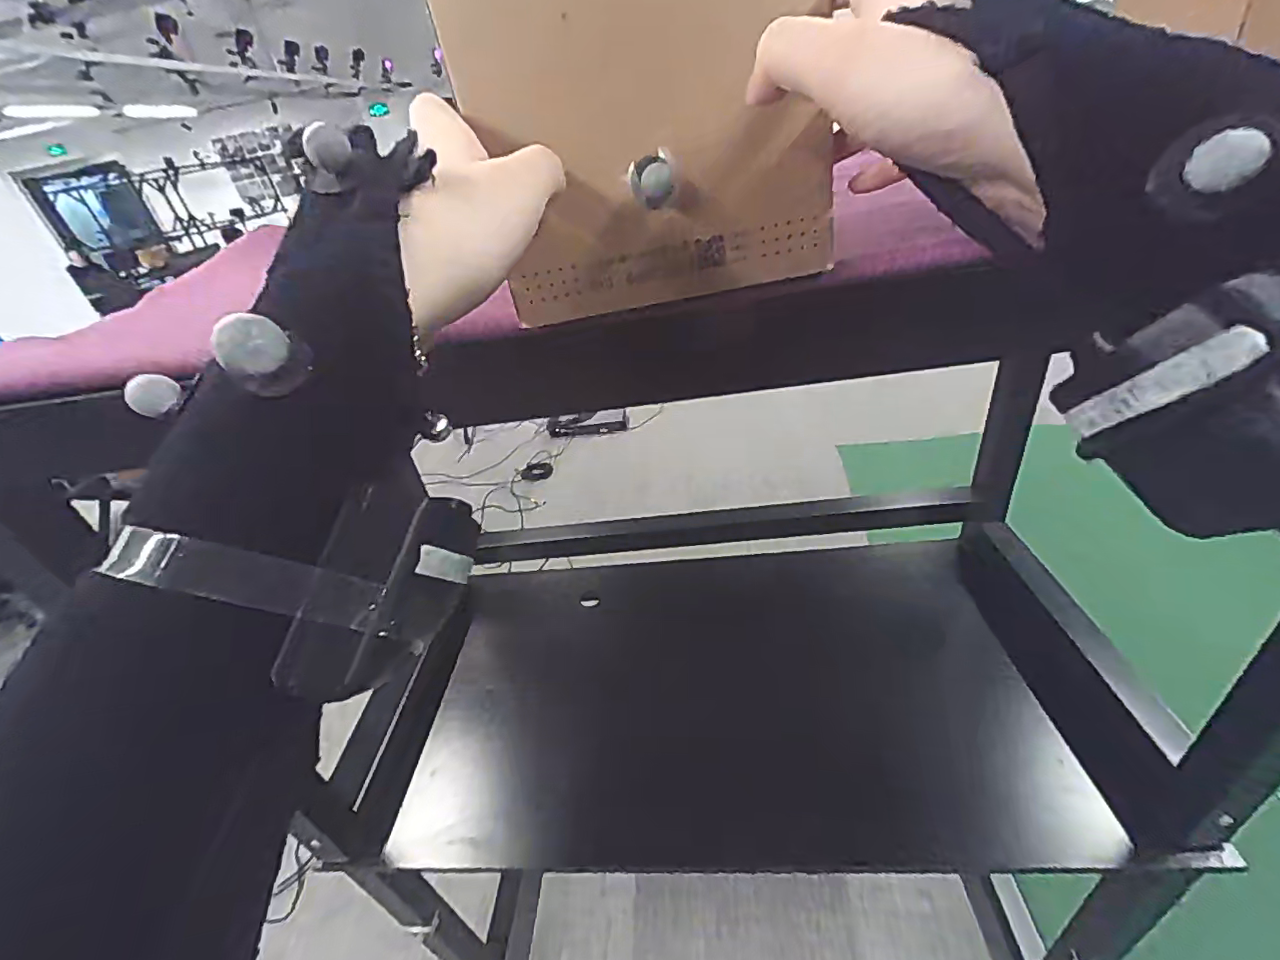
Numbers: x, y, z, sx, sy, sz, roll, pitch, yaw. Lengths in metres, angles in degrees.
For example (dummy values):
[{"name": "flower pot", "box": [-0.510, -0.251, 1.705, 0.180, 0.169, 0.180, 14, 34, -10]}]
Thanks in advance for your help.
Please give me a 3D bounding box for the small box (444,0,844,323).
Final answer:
[{"name": "small box", "box": [0.005, -0.201, 0.309, 0.168, 0.176, 0.179, -10, 31, 4]}]
